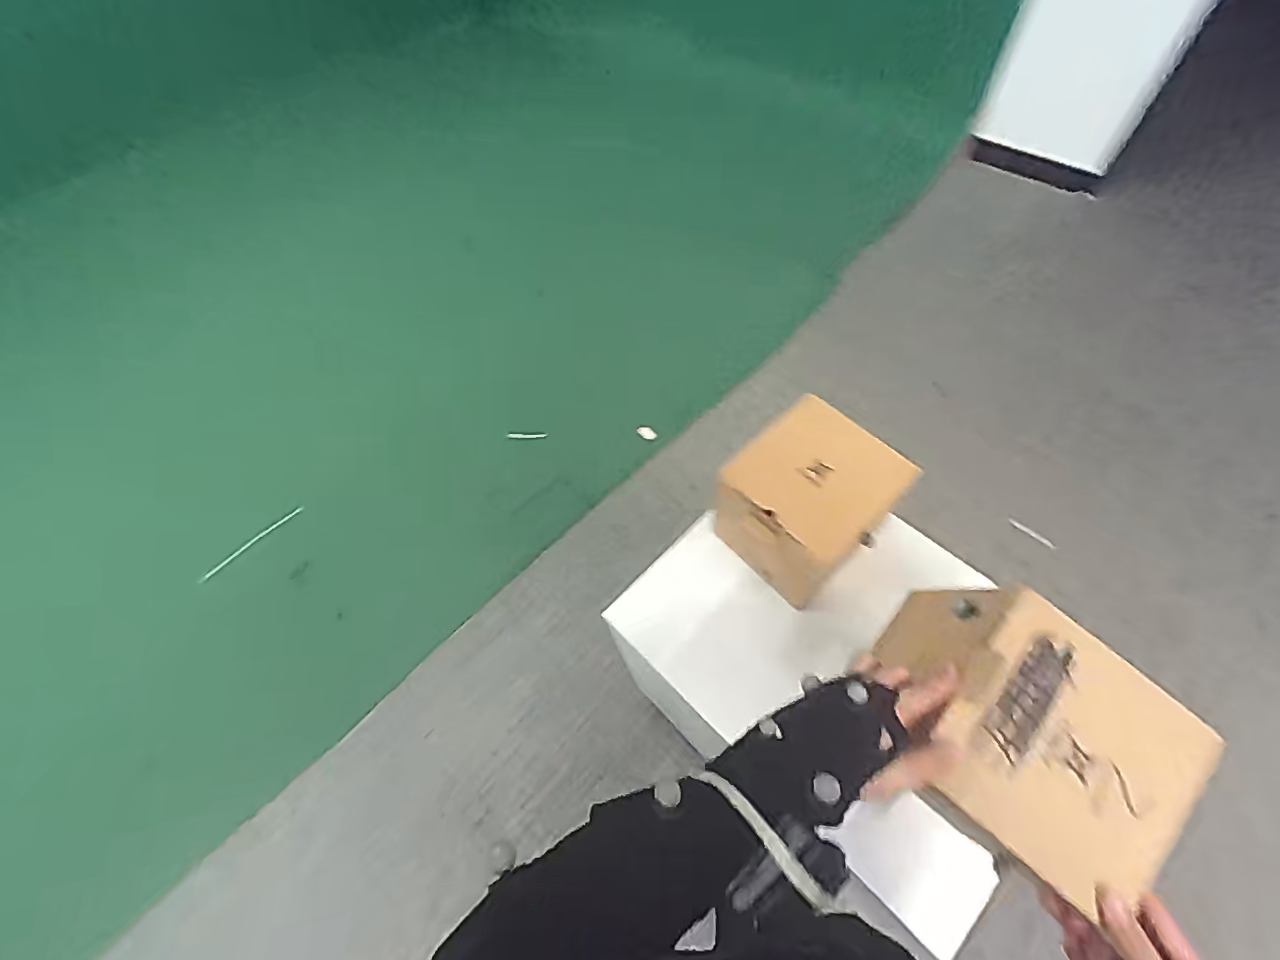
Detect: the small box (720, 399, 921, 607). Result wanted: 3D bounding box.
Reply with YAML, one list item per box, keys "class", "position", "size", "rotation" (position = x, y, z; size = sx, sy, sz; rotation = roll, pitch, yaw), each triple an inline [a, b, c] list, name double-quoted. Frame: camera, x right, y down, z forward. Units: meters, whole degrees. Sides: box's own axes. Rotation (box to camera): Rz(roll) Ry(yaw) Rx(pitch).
- class: "small box"
  position: [0.219, 0.035, 0.710]
  size: [0.179, 0.176, 0.168]
  rotation: [-38, 64, -16]
